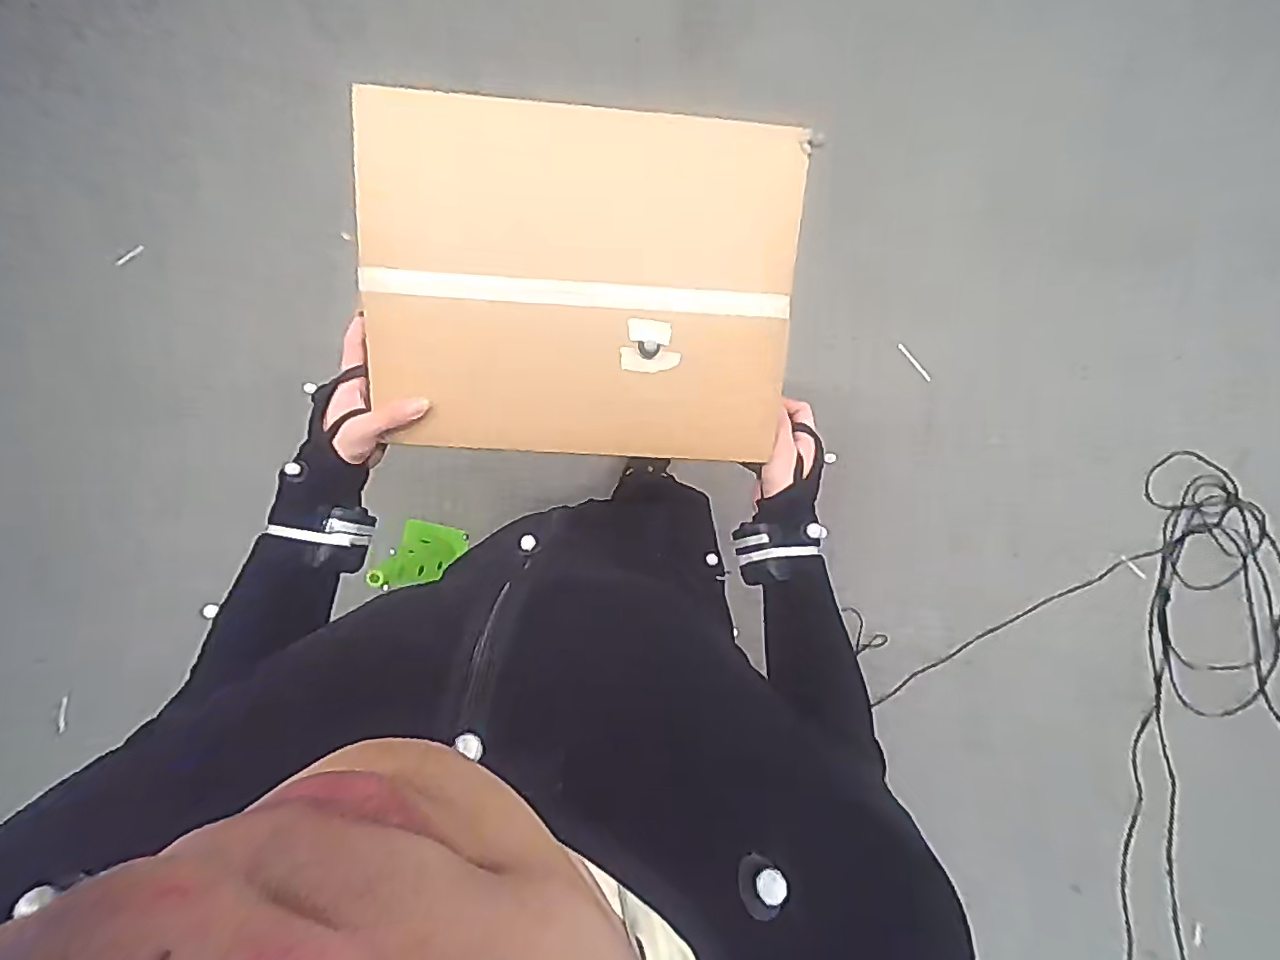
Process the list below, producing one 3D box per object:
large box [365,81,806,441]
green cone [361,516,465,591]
[{"bbox_3d":[-0.062,-0.230,0.664,0.408,0.320,0.320,2,105,-5],"label":"large box"},{"bbox_3d":[-0.640,0.223,1.452,0.200,0.368,0.202,12,91,1],"label":"green cone"}]
